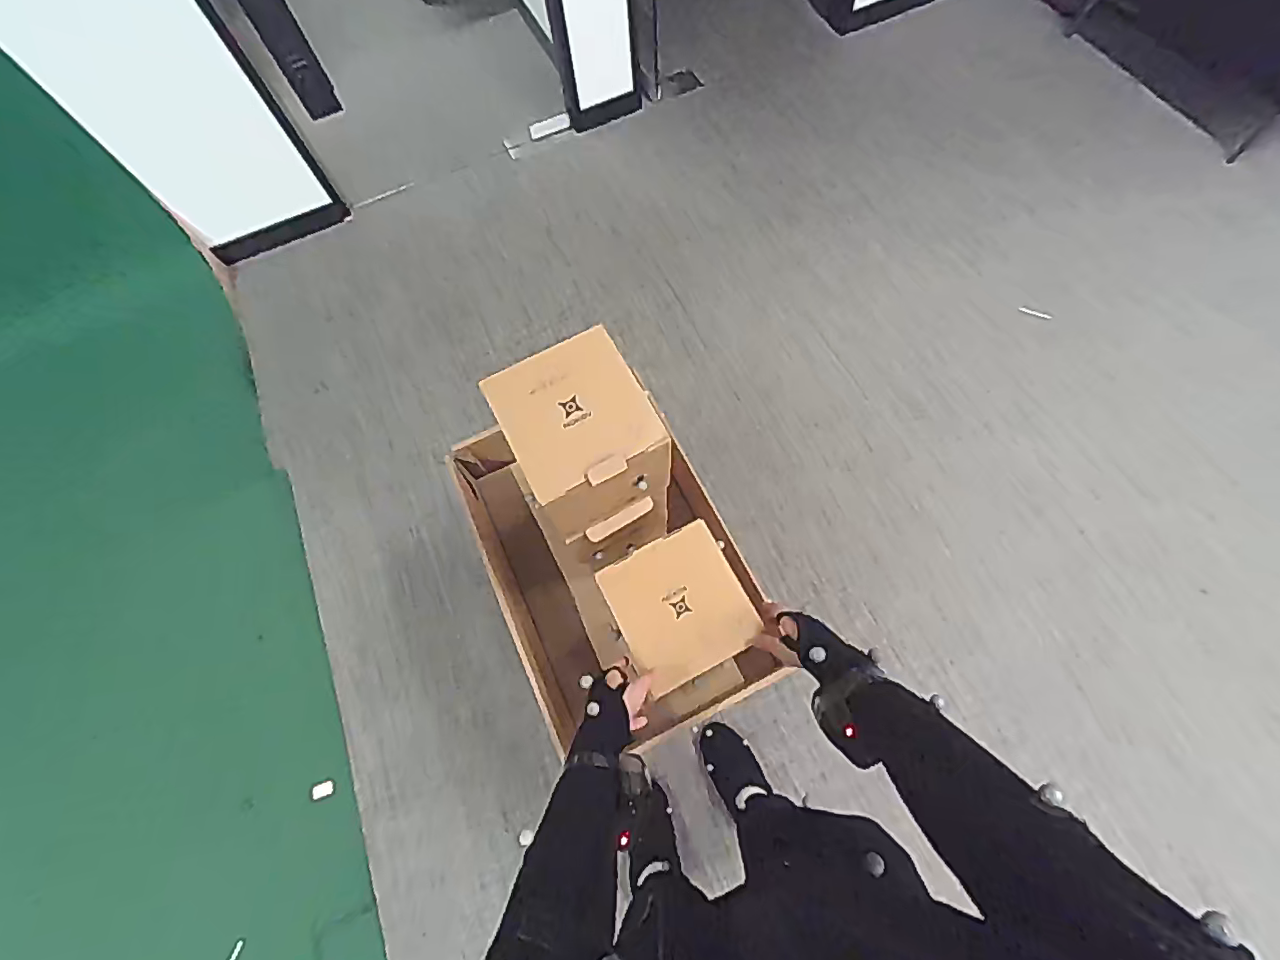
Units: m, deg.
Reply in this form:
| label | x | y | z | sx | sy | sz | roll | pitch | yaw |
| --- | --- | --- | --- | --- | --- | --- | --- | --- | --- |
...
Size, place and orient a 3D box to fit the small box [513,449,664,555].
| label | x | y | z | sx | sy | sz | roll | pitch | yaw |
| --- | --- | --- | --- | --- | --- | --- | --- | --- | --- |
| small box | -0.072 | 0.002 | 0.846 | 0.168 | 0.176 | 0.179 | -30 | 72 | -8 |

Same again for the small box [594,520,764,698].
| label | x | y | z | sx | sy | sz | roll | pitch | yaw |
| --- | --- | --- | --- | --- | --- | --- | --- | --- | --- |
| small box | 0.053 | 0.186 | 0.766 | 0.168 | 0.176 | 0.179 | -26 | 69 | -7 |

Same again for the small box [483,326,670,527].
| label | x | y | z | sx | sy | sz | roll | pitch | yaw |
| --- | --- | --- | --- | --- | --- | --- | --- | --- | --- |
| small box | -0.072 | -0.054 | 0.693 | 0.168 | 0.176 | 0.179 | -27 | 72 | -8 |
